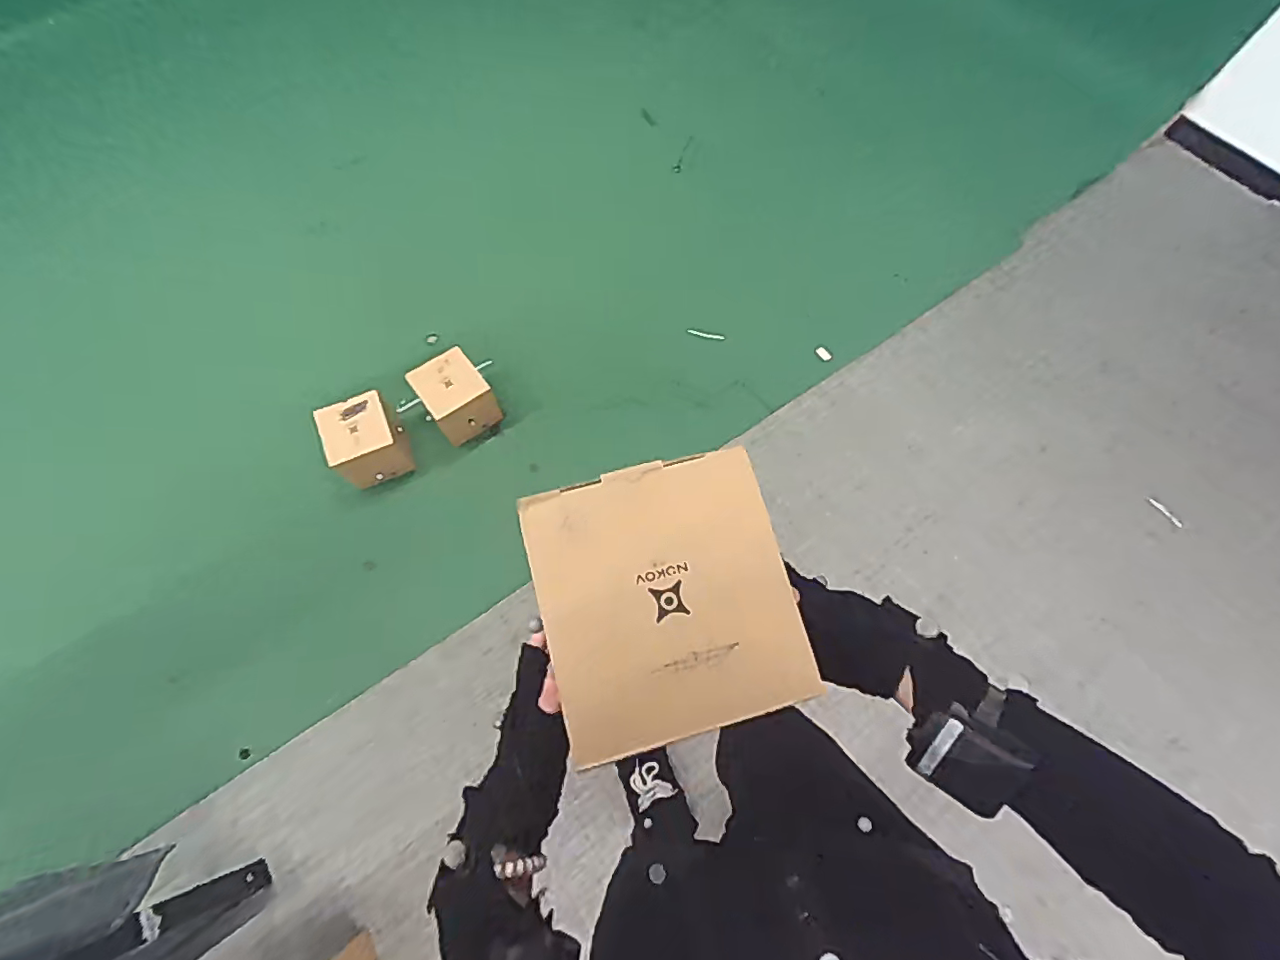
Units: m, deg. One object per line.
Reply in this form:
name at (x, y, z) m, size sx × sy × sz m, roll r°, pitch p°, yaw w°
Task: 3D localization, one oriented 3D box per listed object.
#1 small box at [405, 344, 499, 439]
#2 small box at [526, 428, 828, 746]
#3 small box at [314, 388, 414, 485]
small box at (-0.516, -0.235, 1.510) m, size 0.168 × 0.176 × 0.179 m, roll -34°, pitch 72°, yaw -16°
small box at (0.014, 0.080, 0.424) m, size 0.168 × 0.176 × 0.179 m, roll -13°, pitch 78°, yaw -7°
small box at (-0.736, -0.113, 1.452) m, size 0.168 × 0.176 × 0.179 m, roll -23°, pitch 71°, yaw -10°
